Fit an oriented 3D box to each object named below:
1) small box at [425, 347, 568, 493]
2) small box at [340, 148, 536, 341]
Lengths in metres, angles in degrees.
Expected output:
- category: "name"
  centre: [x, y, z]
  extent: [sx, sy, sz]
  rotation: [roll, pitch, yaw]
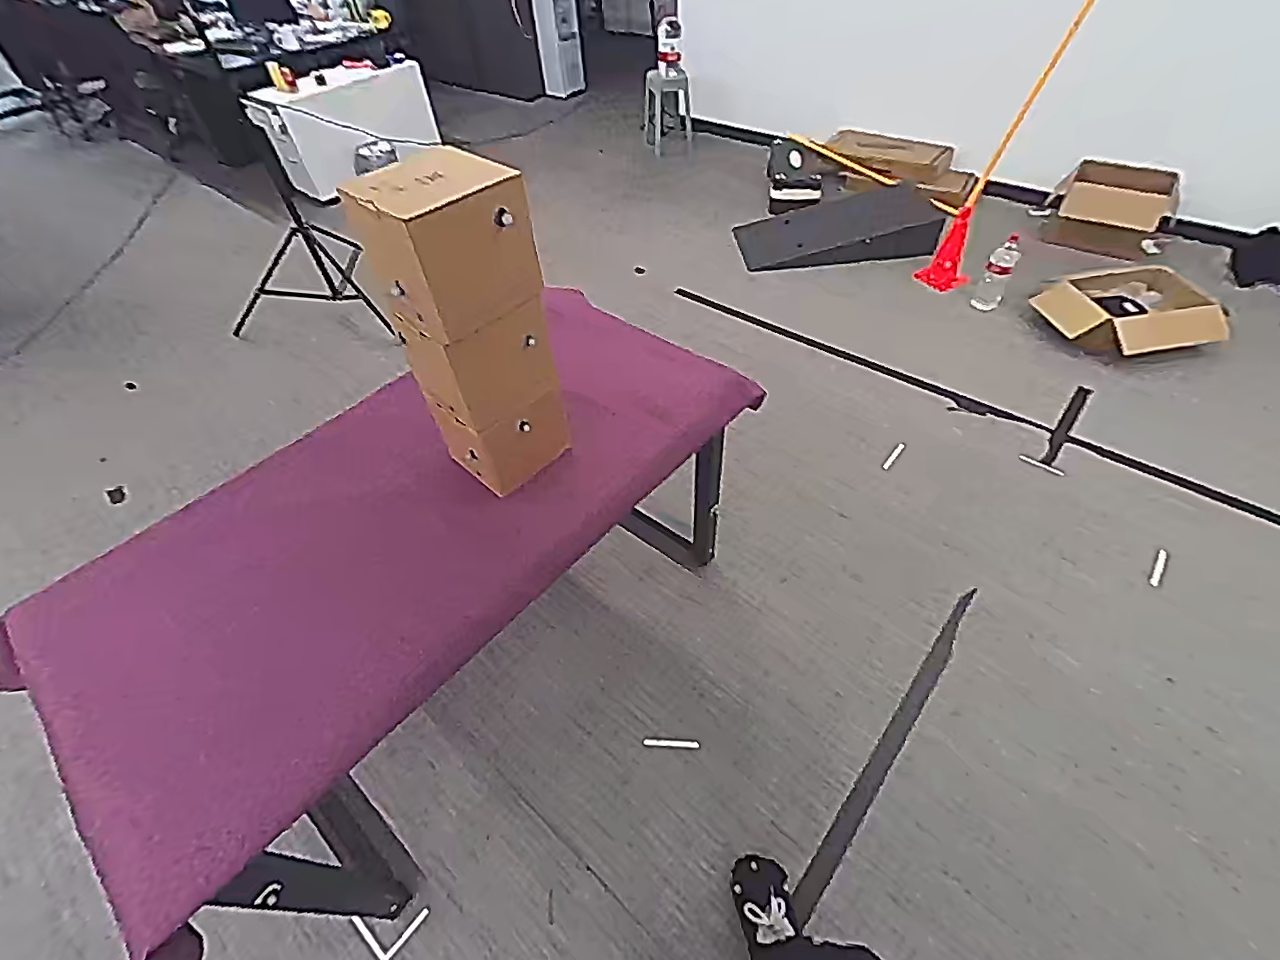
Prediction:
- category: "small box"
  centre: [-0.252, -0.107, 0.994]
  extent: [0.168, 0.176, 0.179]
  rotation: [34, 59, 28]
- category: "small box"
  centre: [-0.261, -0.325, 0.747]
  extent: [0.168, 0.176, 0.179]
  rotation: [33, 60, 28]
